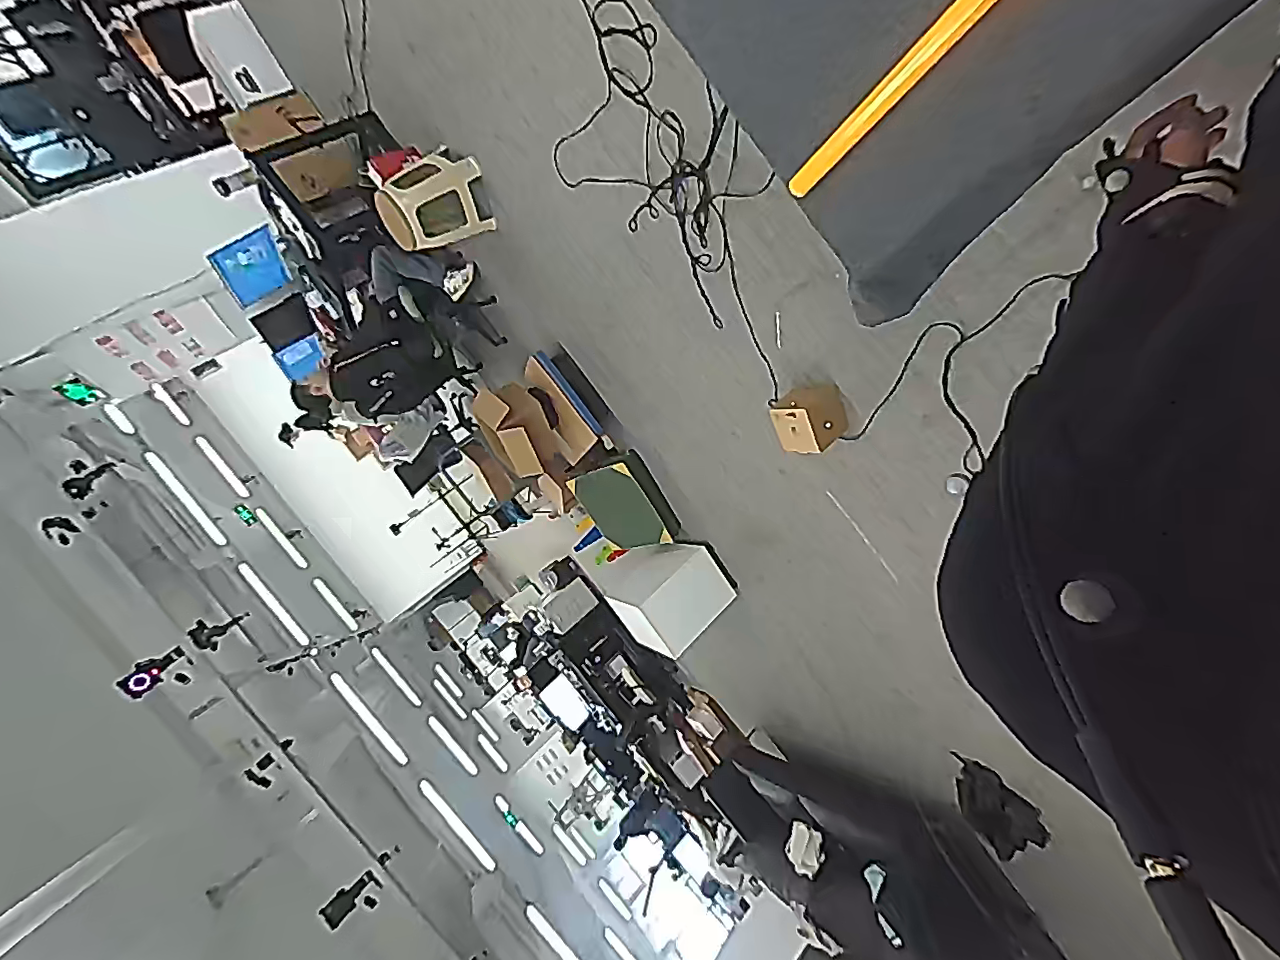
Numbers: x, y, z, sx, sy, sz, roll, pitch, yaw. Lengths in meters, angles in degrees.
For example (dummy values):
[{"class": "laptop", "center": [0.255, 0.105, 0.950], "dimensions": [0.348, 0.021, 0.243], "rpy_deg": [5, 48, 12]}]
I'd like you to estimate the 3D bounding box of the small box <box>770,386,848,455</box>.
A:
[{"class": "small box", "center": [0.587, -0.209, 1.864], "dimensions": [0.168, 0.176, 0.179], "rpy_deg": [12, 135, 57]}]
